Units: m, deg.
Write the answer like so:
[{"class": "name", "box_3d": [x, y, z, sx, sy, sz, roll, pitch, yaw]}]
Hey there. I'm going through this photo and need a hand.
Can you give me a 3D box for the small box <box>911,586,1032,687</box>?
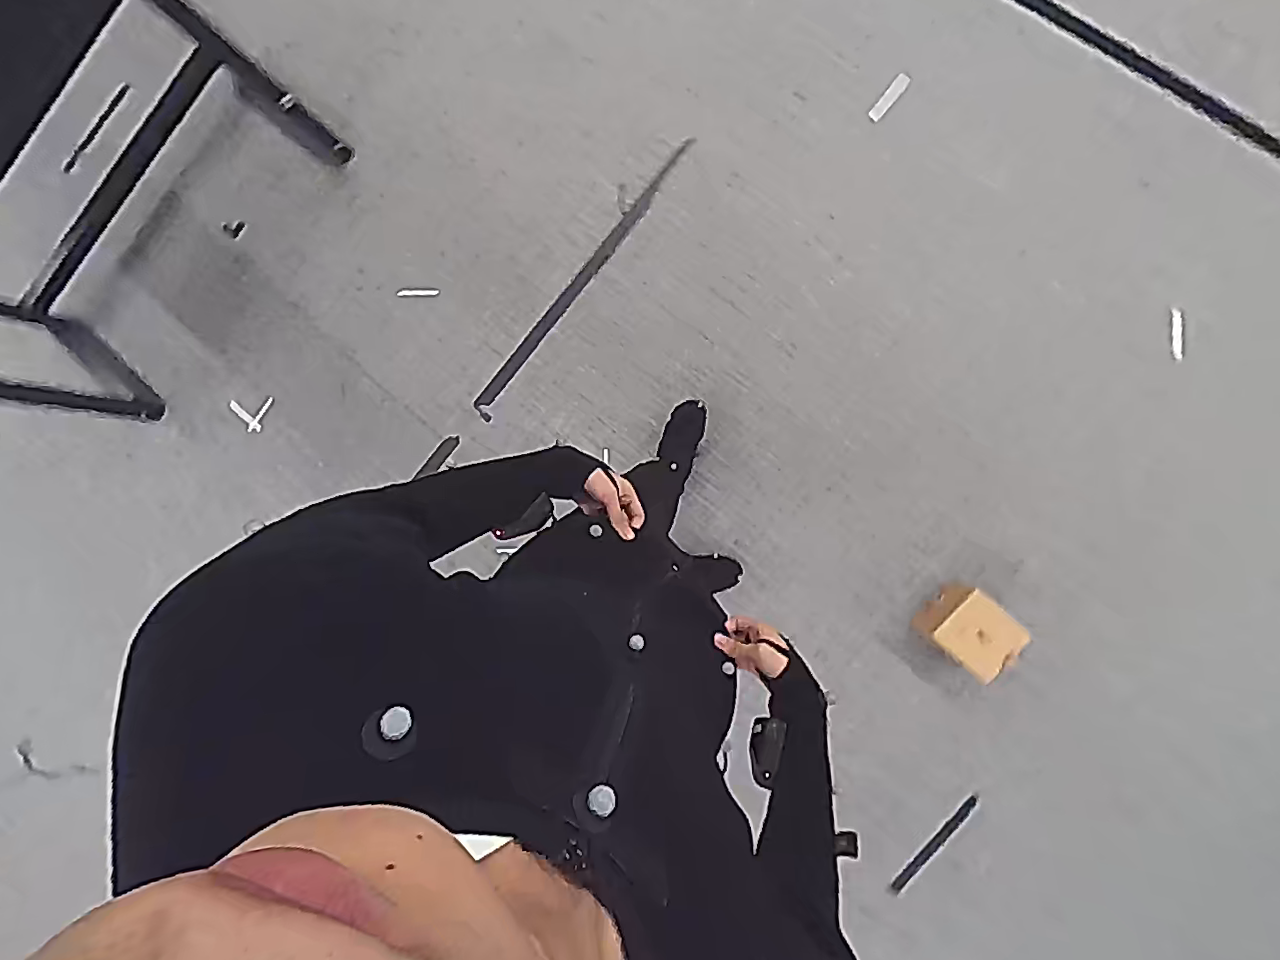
[{"class": "small box", "box_3d": [0.855, 0.397, 1.414, 0.179, 0.176, 0.168, 43, 93, 8]}]
